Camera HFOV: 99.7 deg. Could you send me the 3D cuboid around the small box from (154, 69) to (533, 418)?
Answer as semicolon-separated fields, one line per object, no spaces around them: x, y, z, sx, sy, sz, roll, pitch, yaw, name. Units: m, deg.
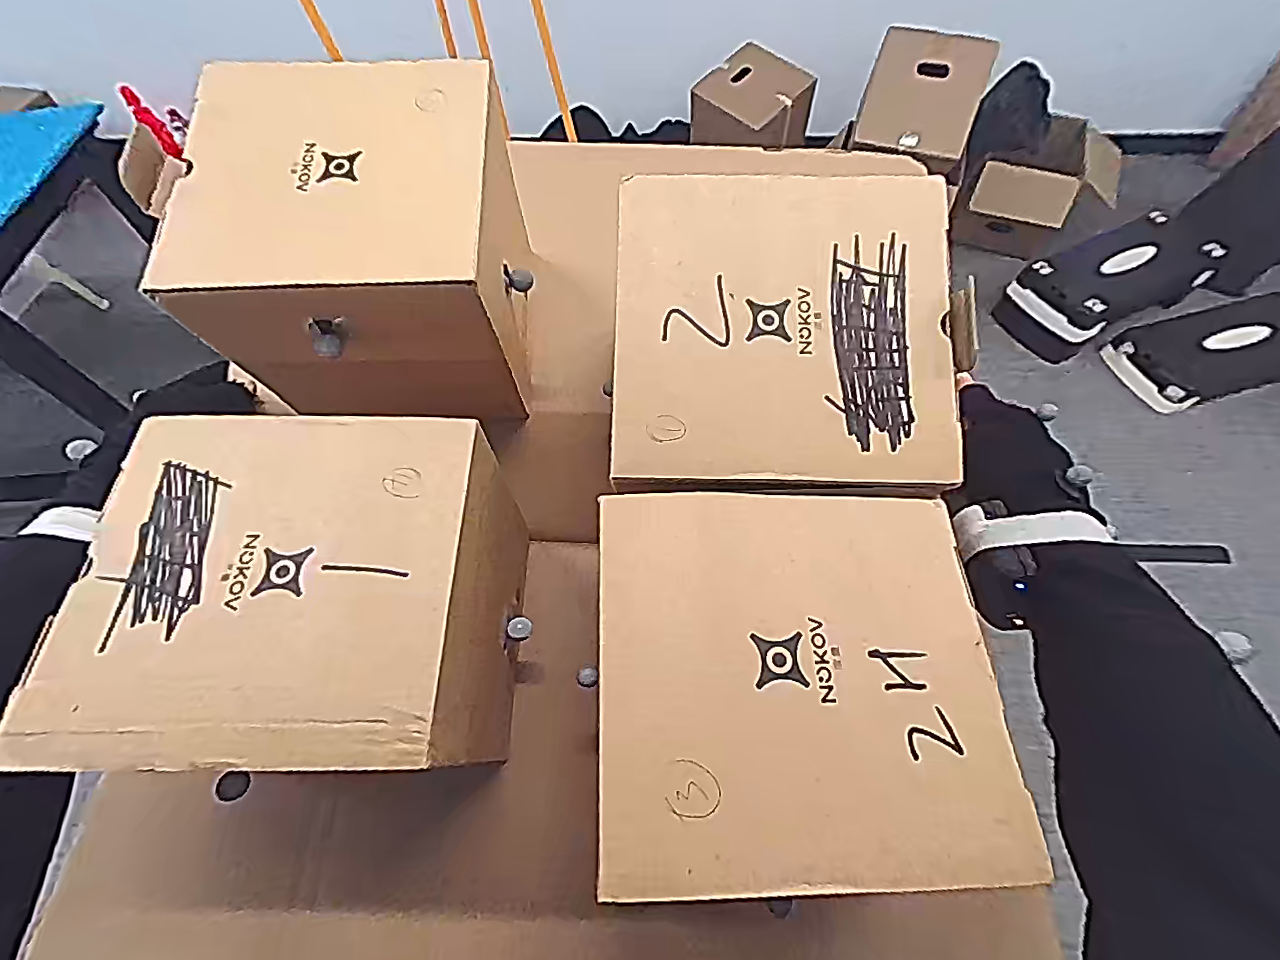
-0.178;-0.153;0.391;0.179;0.176;0.168;-2;71;-1;small box
